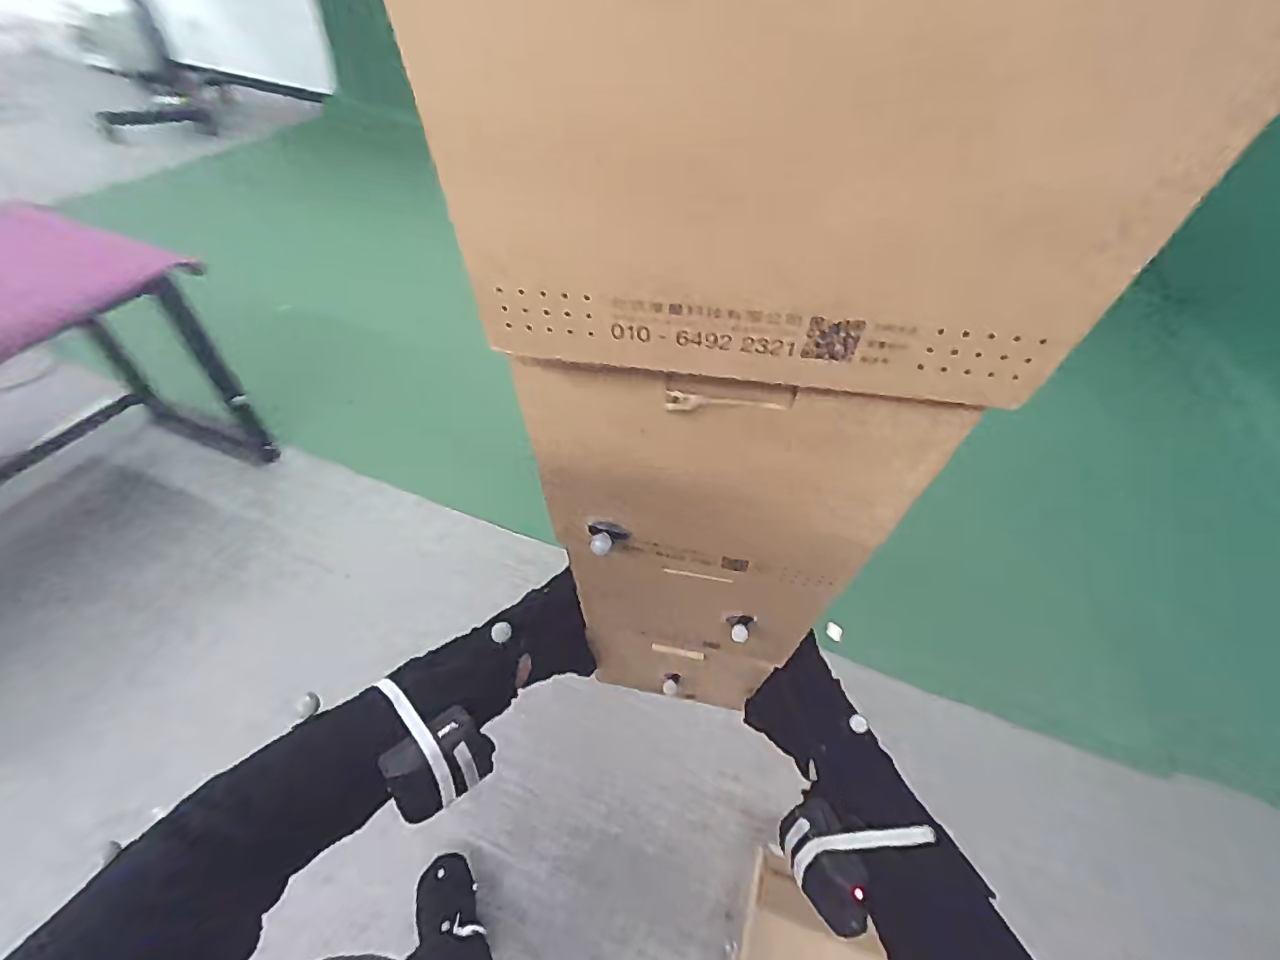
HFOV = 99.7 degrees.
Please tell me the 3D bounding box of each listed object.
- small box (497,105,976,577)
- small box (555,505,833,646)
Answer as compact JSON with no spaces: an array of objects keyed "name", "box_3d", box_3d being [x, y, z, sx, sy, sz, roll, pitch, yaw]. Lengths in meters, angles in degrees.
[{"name":"small box","box_3d":[0.044,-0.066,0.292,0.168,0.176,0.179,9,56,5]},{"name":"small box","box_3d":[0.046,0.011,0.417,0.168,0.176,0.179,8,56,6]}]
